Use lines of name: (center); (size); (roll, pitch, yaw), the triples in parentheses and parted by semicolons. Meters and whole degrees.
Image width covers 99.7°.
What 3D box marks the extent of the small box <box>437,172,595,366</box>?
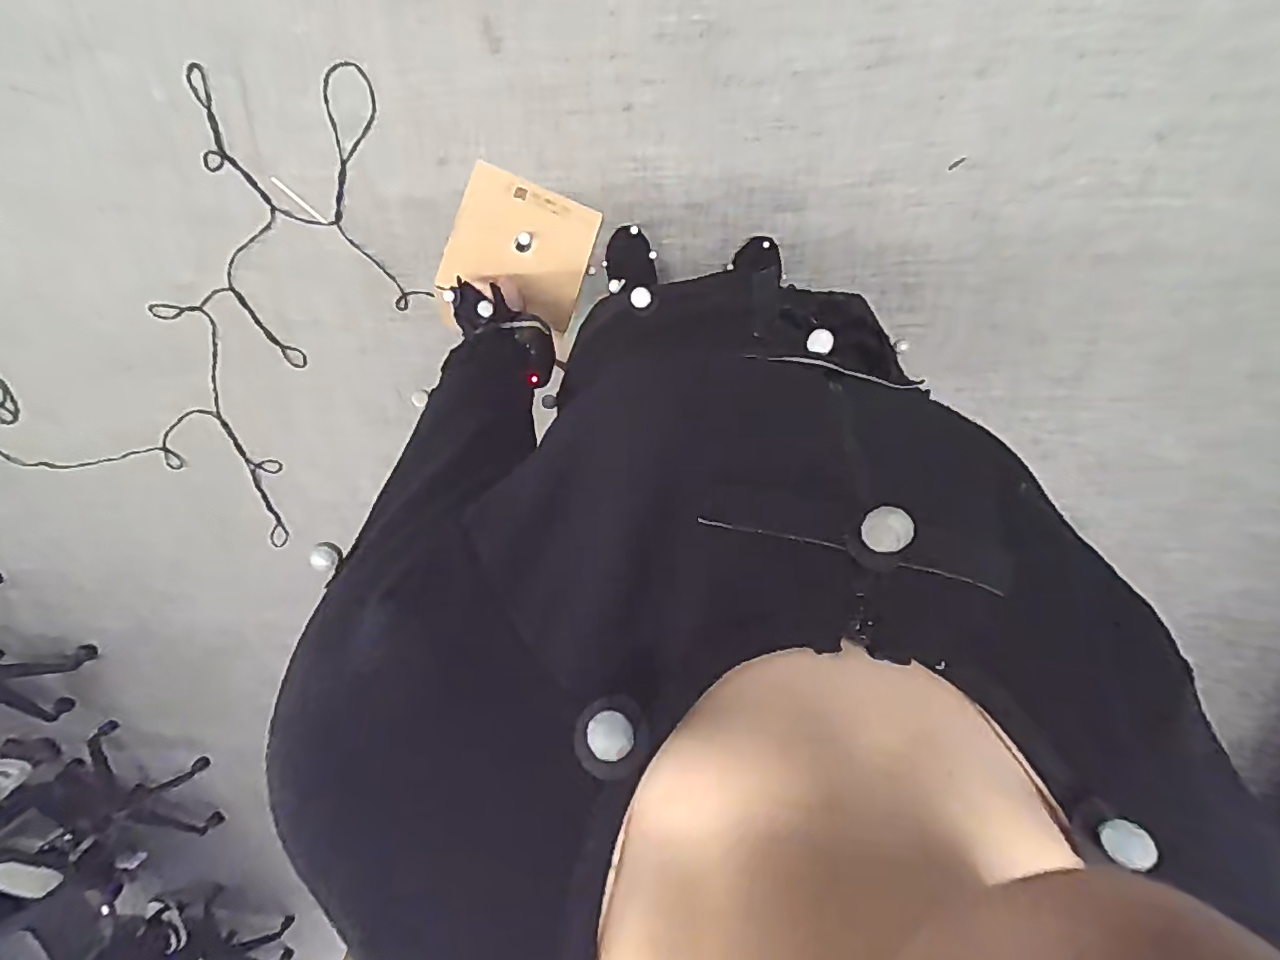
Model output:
small box: (-0.172, -0.282, 0.750); (0.168, 0.179, 0.176); (18, 83, -17)
